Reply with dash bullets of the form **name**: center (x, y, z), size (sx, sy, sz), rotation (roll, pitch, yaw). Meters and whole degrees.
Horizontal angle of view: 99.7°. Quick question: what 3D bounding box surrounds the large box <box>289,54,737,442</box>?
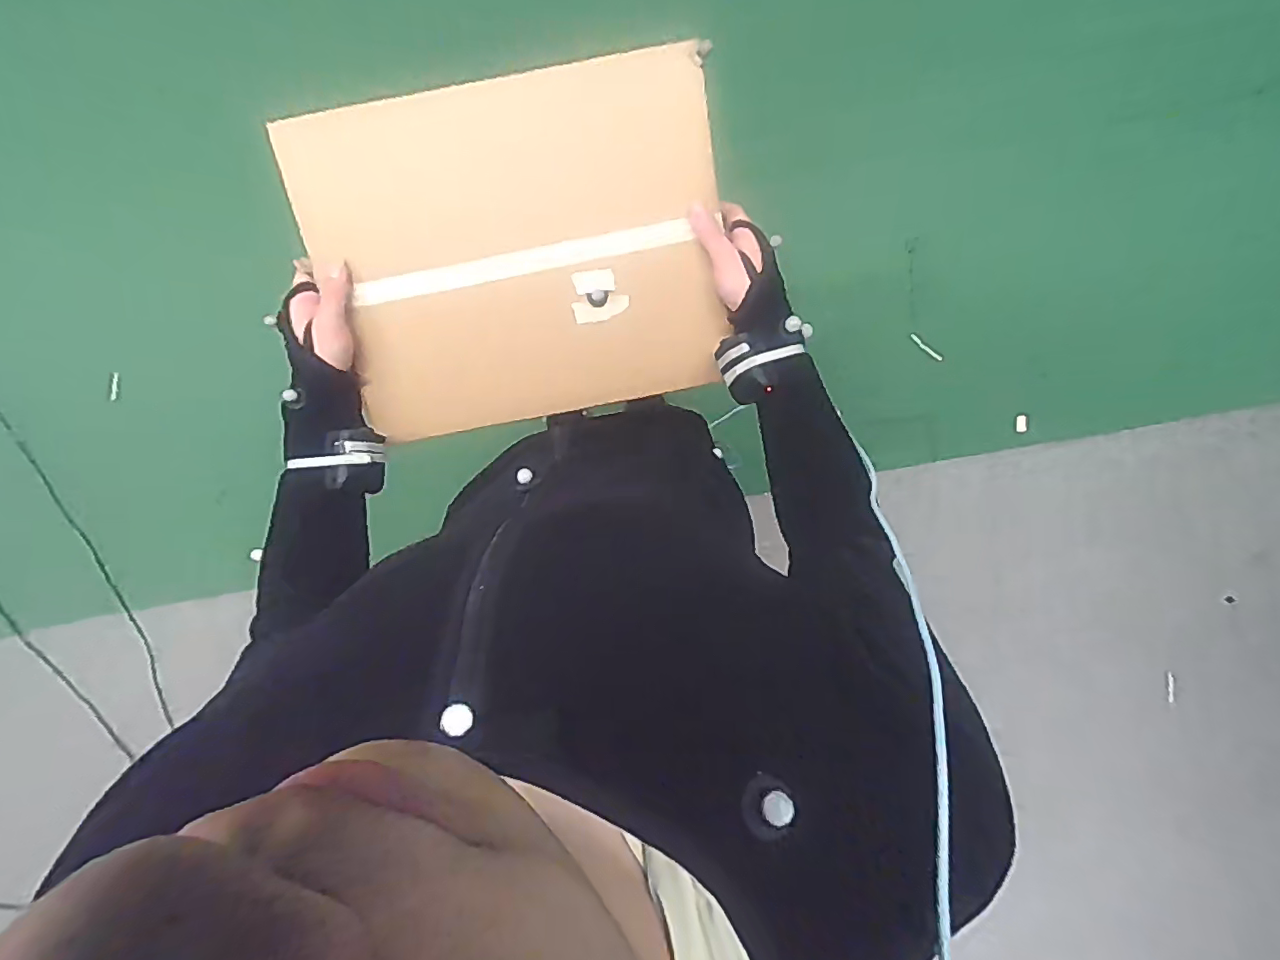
- **large box**: center (-0.125, -0.264, 0.697), size (0.408, 0.320, 0.320), rotation (-11, 108, -1)
